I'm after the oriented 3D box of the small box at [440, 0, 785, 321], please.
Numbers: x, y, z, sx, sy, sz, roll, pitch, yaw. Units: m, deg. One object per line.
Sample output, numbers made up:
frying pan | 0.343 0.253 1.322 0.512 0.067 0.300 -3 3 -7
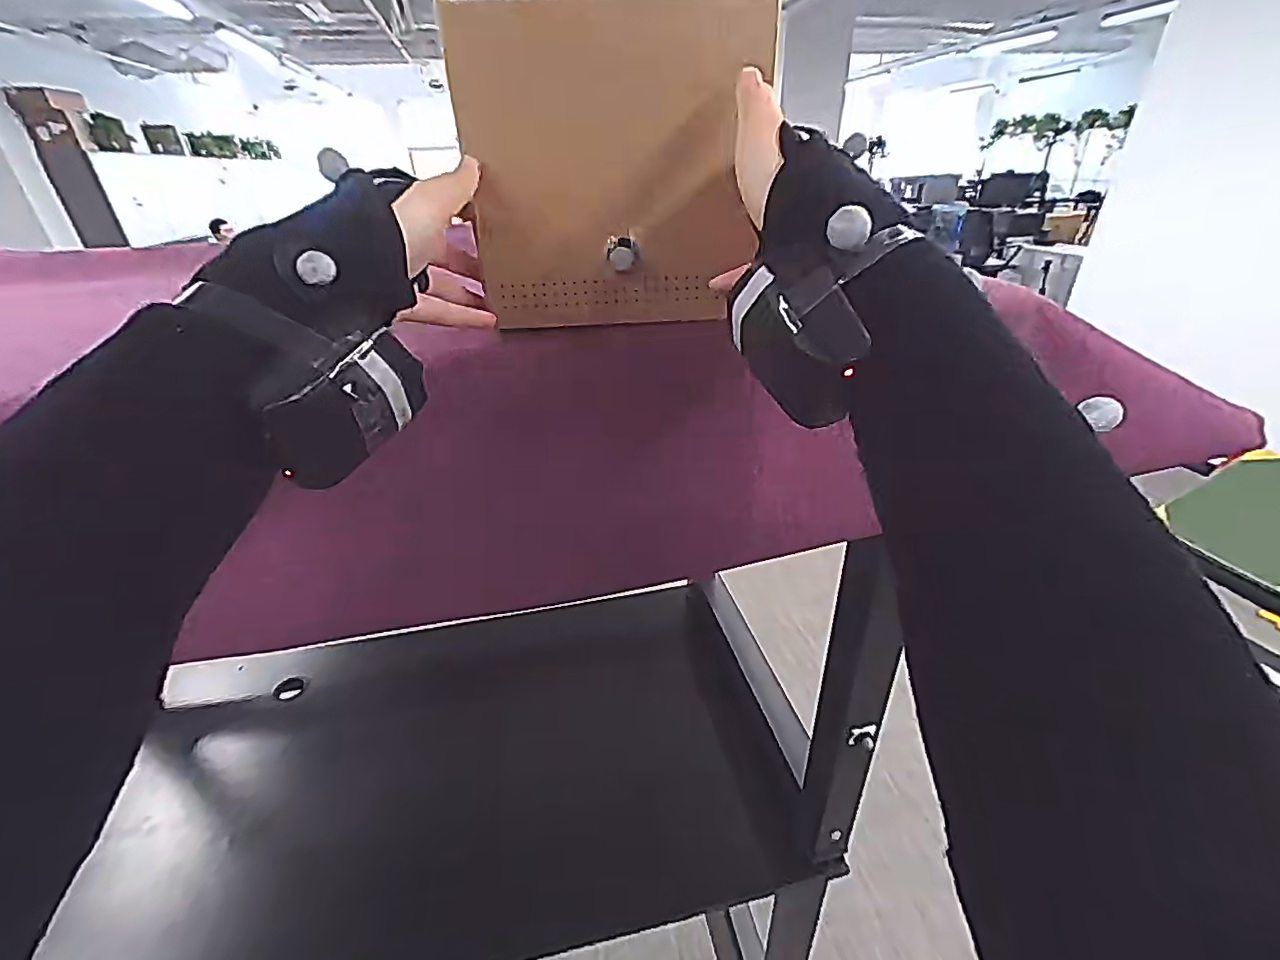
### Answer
small box | -0.015 -0.214 0.374 0.179 0.176 0.168 -4 29 -2
